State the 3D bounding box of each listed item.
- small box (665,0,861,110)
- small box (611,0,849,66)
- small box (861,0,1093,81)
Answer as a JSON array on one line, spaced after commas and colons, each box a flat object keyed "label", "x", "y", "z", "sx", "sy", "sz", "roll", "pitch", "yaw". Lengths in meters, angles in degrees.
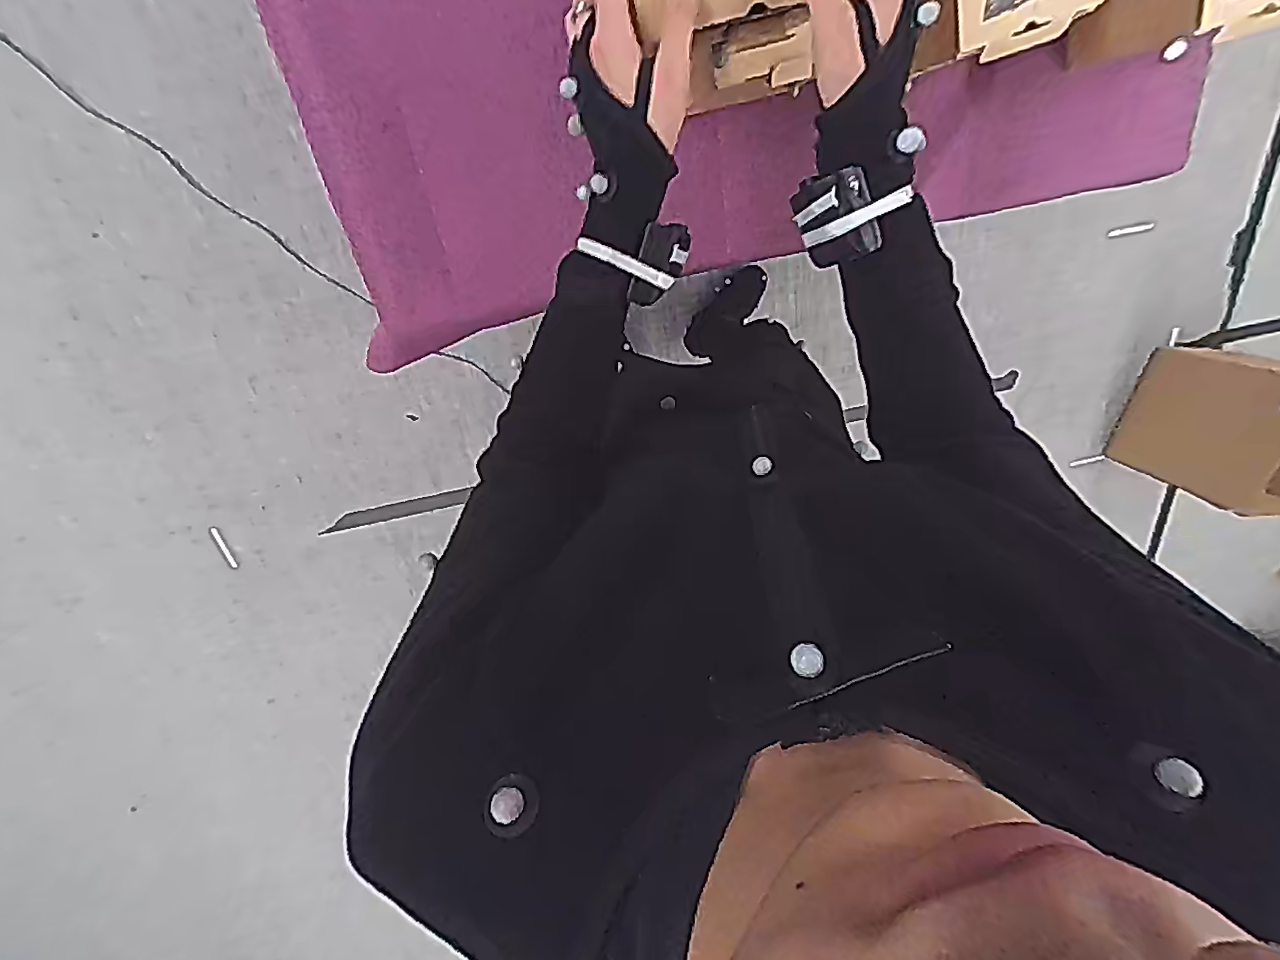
[{"label": "small box", "x": 0.118, "y": -0.524, "z": 0.584, "sx": 0.168, "sy": 0.176, "sz": 0.179, "roll": -16, "pitch": 116, "yaw": -4}, {"label": "small box", "x": 0.056, "y": -0.429, "z": 0.387, "sx": 0.168, "sy": 0.176, "sz": 0.179, "roll": -13, "pitch": 122, "yaw": 0}, {"label": "small box", "x": 0.364, "y": -0.579, "z": 0.604, "sx": 0.168, "sy": 0.176, "sz": 0.179, "roll": -20, "pitch": 116, "yaw": -1}]
